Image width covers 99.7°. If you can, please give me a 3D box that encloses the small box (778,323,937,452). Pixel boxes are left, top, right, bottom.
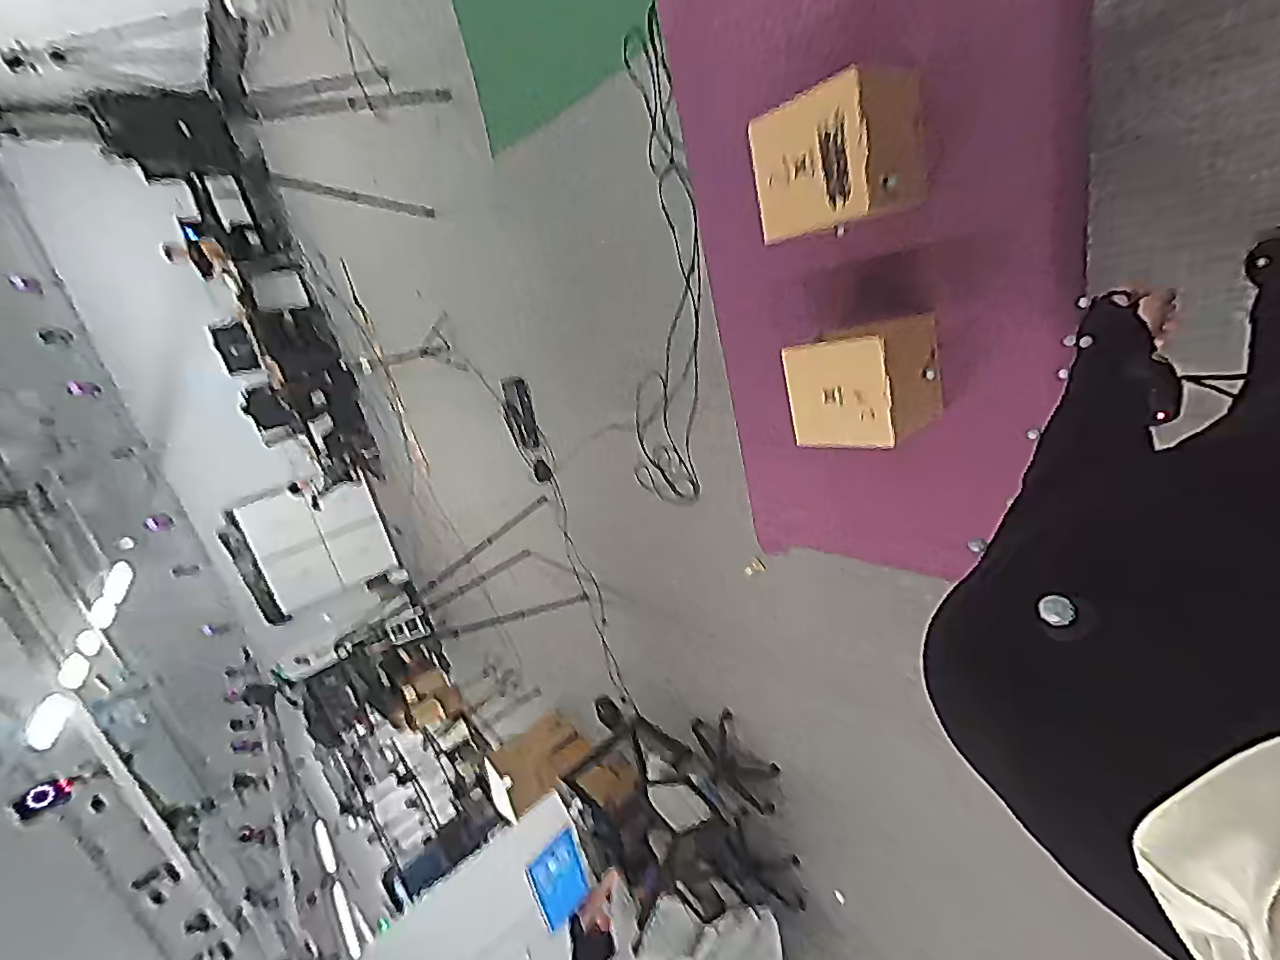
[{"bbox_3d":[0.359,-0.152,0.891,0.179,0.176,0.168,6,116,51],"label":"small box"}]
